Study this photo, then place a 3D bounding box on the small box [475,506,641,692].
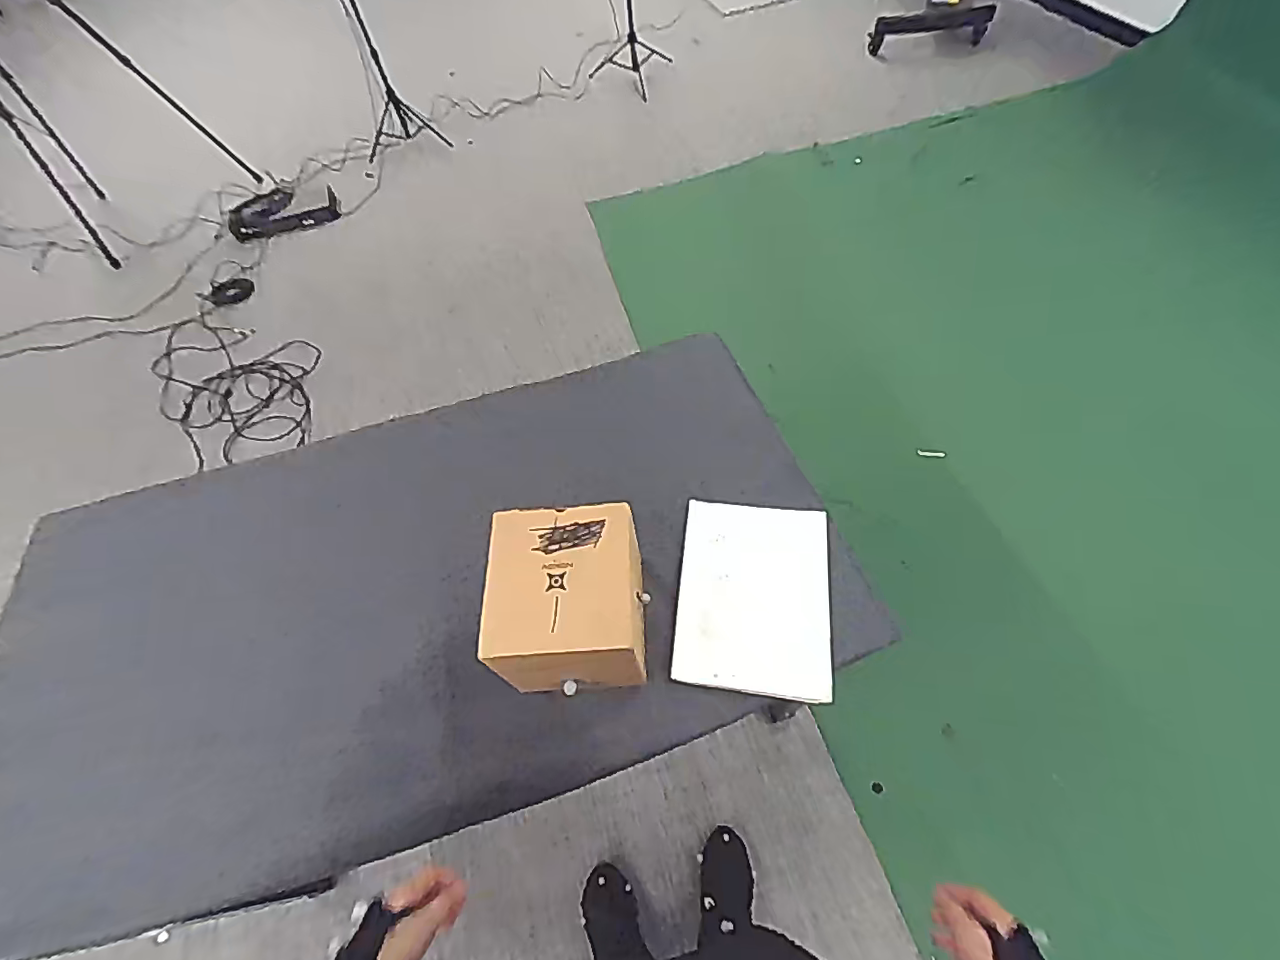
[{"bbox_3d":[-0.089,0.153,0.675,0.168,0.176,0.179,-5,58,4],"label":"small box"}]
